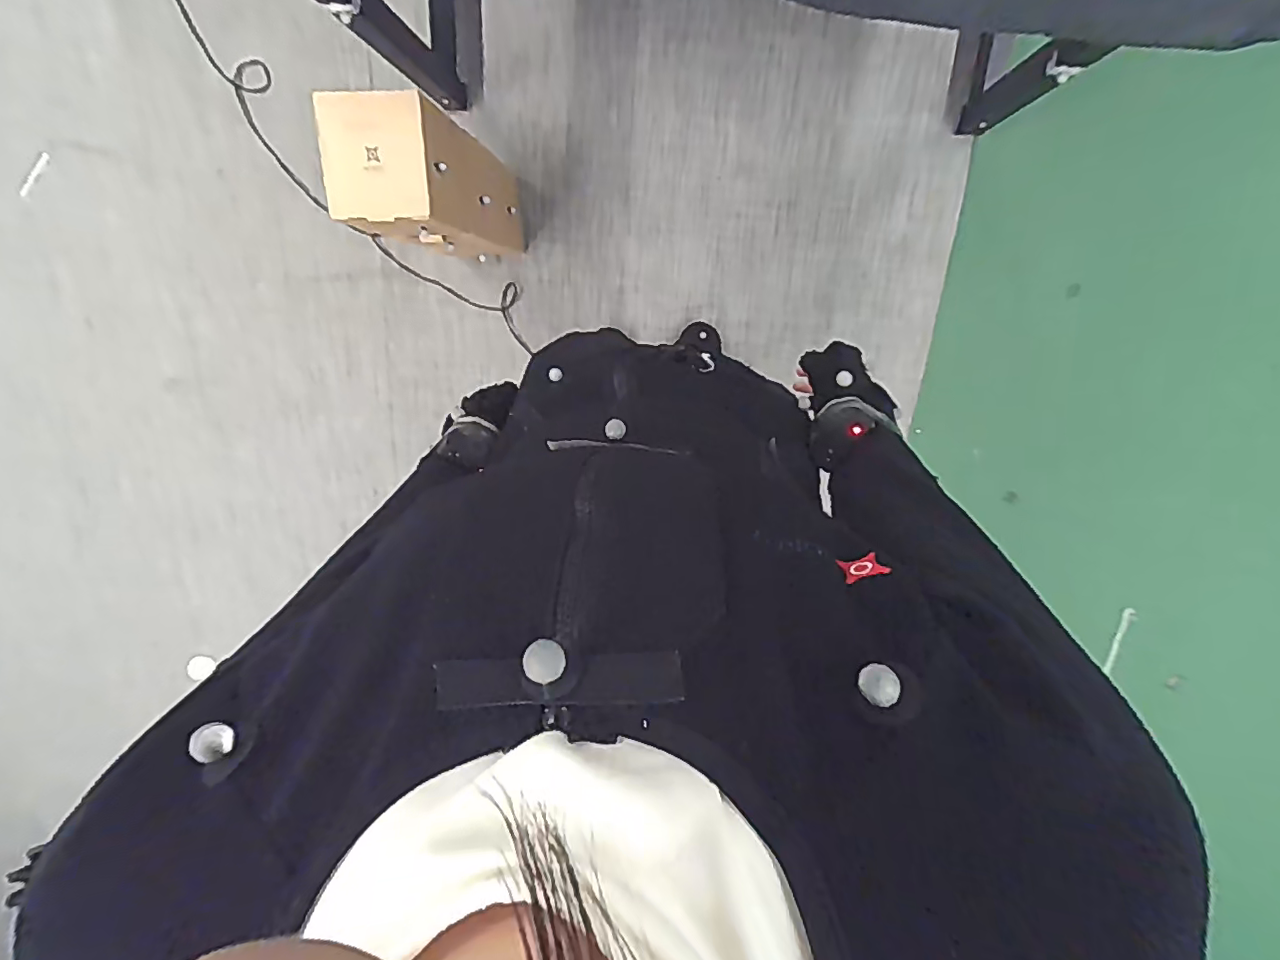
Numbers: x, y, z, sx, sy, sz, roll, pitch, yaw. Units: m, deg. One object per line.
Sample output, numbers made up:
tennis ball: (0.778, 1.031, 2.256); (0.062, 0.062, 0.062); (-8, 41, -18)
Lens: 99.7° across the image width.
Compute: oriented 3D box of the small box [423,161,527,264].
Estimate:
small box: (-0.362, -0.592, 1.216); (0.168, 0.176, 0.179); (-2, 106, 6)
